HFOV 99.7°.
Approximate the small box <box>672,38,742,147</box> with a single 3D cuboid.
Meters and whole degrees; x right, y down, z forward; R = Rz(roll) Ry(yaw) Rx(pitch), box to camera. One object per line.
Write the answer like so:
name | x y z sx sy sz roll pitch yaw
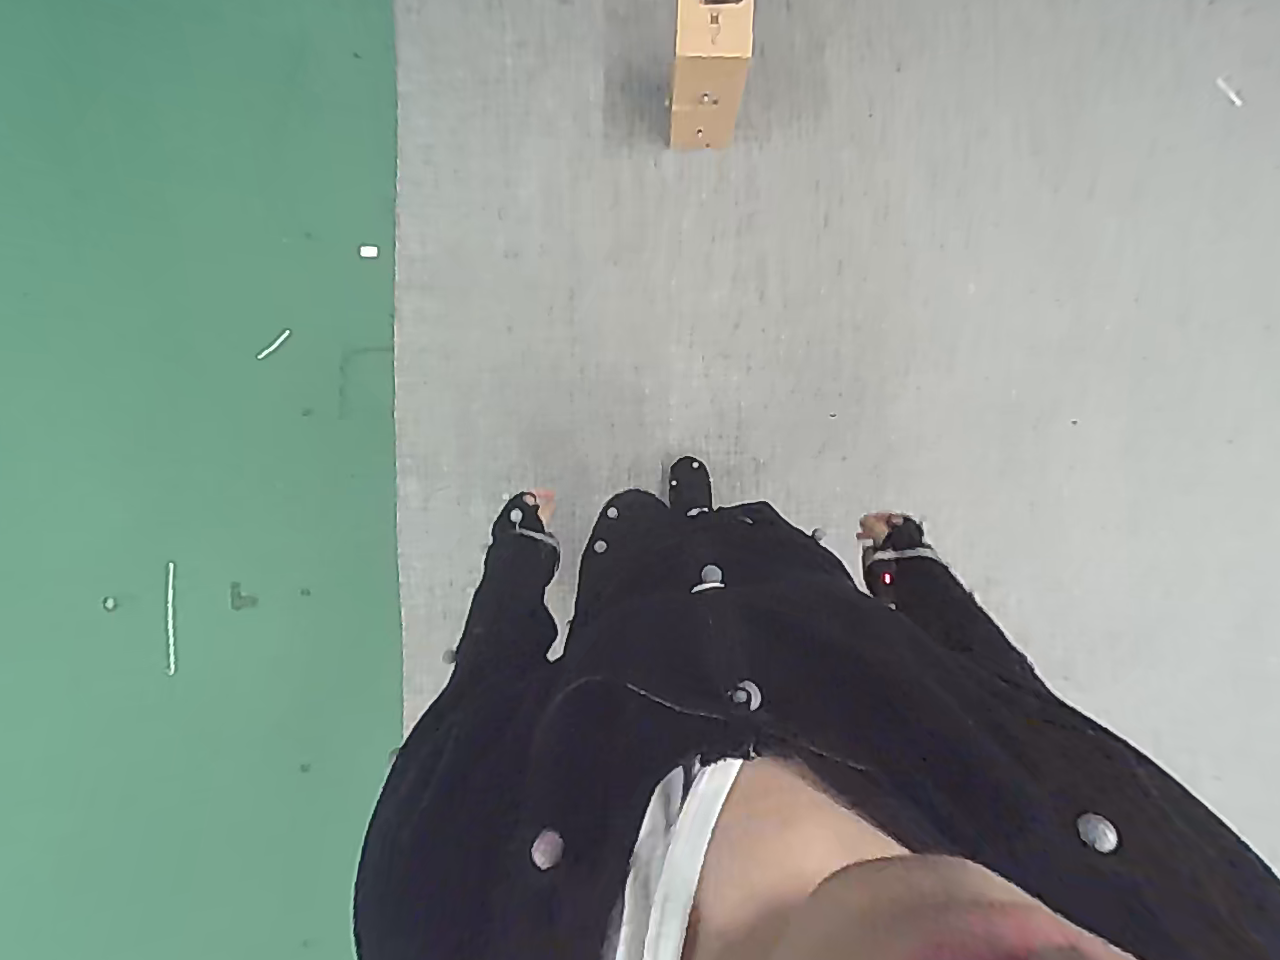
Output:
small box | 0.171 -0.998 1.408 0.168 0.176 0.179 0 91 1
